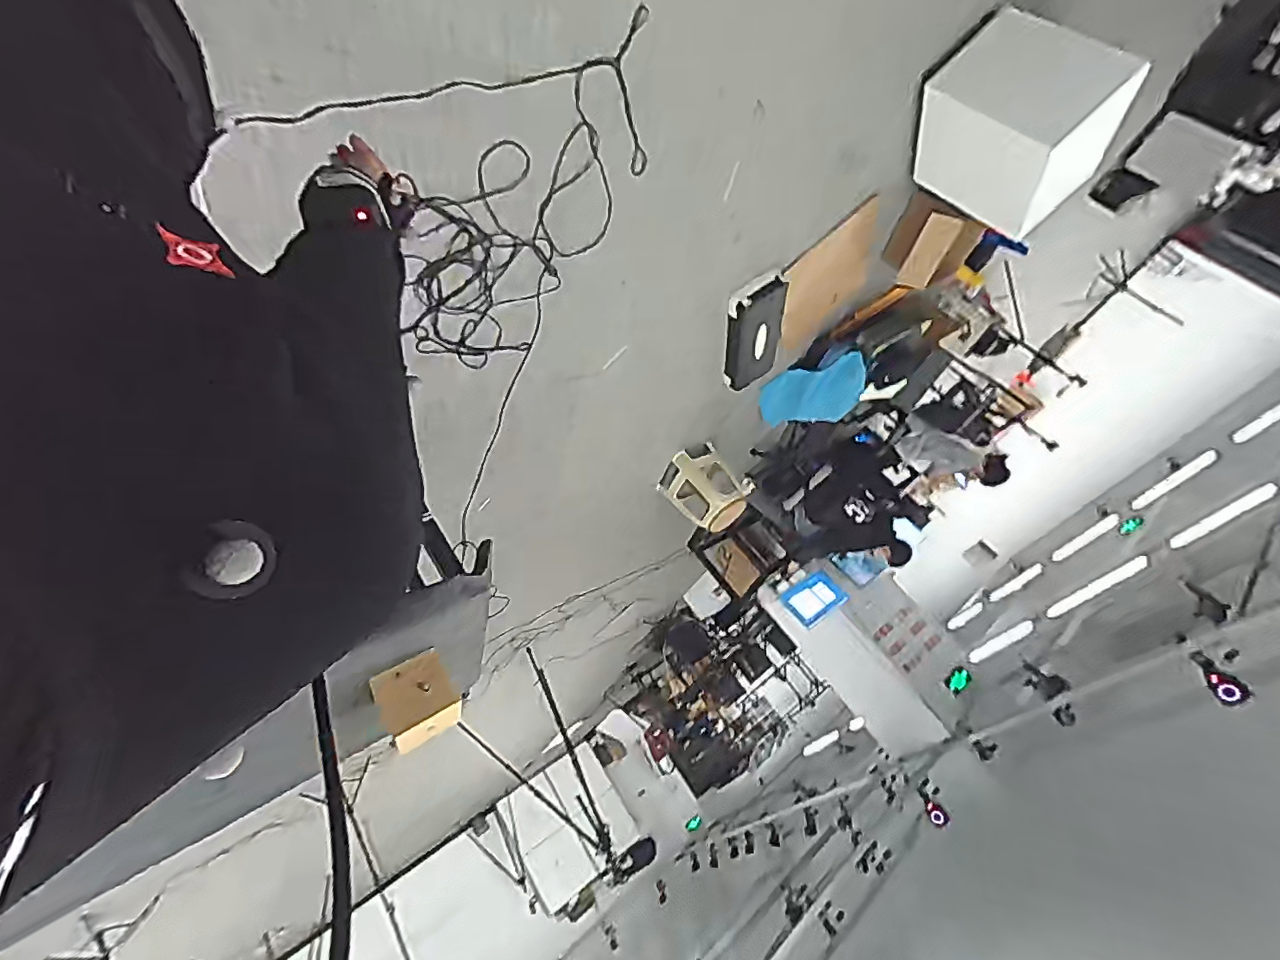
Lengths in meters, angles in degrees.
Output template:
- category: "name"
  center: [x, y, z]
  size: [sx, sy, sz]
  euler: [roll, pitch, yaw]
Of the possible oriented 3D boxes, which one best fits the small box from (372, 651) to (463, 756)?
- category: "small box"
  center: [-0.573, 0.569, 1.396]
  size: [0.168, 0.176, 0.179]
  euler: [-24, 153, -33]
